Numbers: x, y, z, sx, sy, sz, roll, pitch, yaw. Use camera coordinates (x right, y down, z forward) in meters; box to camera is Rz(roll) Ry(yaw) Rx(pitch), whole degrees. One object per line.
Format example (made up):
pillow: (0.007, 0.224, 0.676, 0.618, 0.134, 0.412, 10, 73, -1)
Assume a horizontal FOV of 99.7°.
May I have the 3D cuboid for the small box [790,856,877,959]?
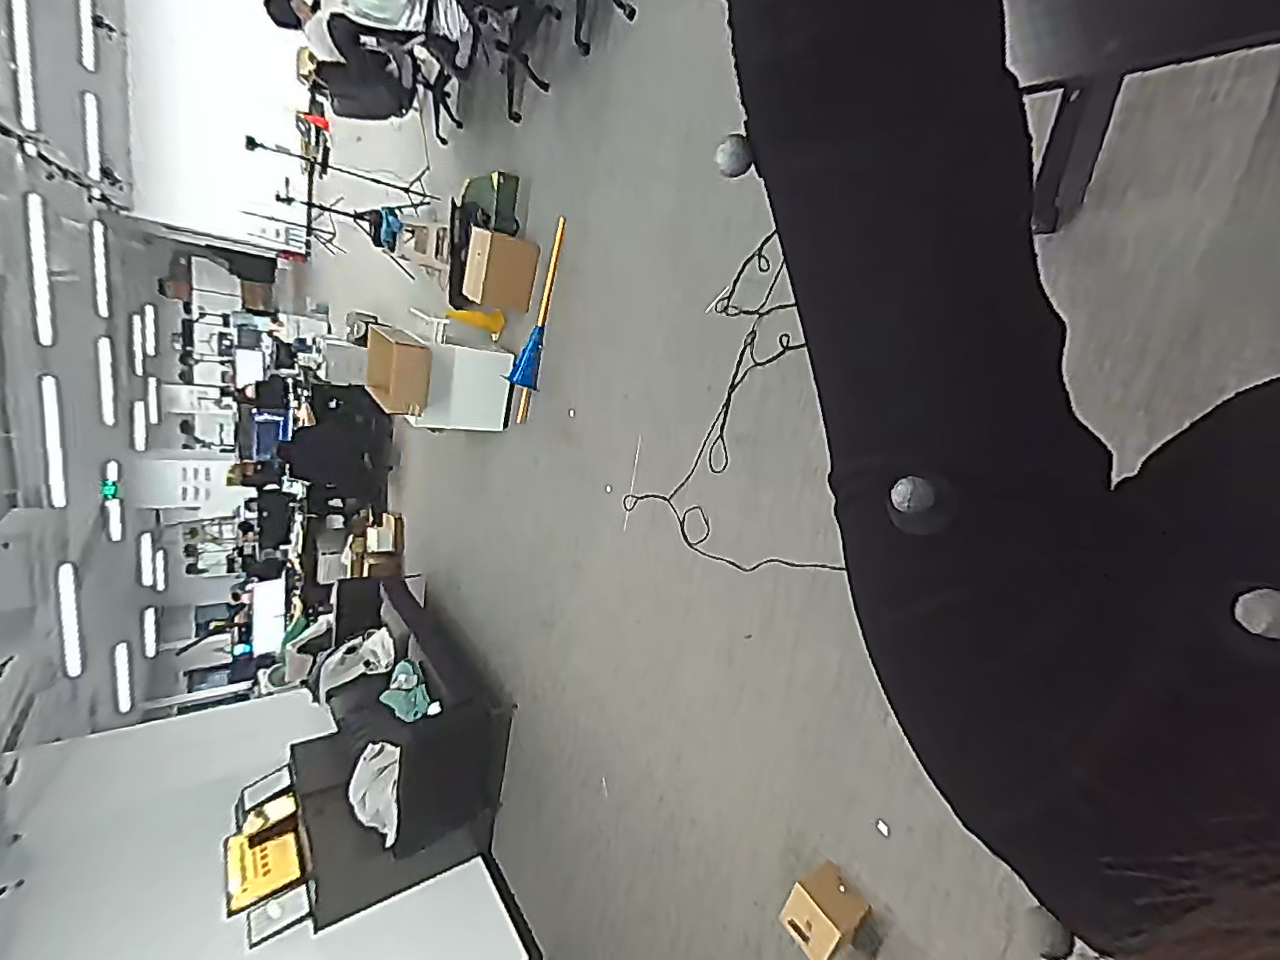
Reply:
small box: (0.603, 1.326, 1.676, 0.168, 0.176, 0.179, 35, 117, 45)
